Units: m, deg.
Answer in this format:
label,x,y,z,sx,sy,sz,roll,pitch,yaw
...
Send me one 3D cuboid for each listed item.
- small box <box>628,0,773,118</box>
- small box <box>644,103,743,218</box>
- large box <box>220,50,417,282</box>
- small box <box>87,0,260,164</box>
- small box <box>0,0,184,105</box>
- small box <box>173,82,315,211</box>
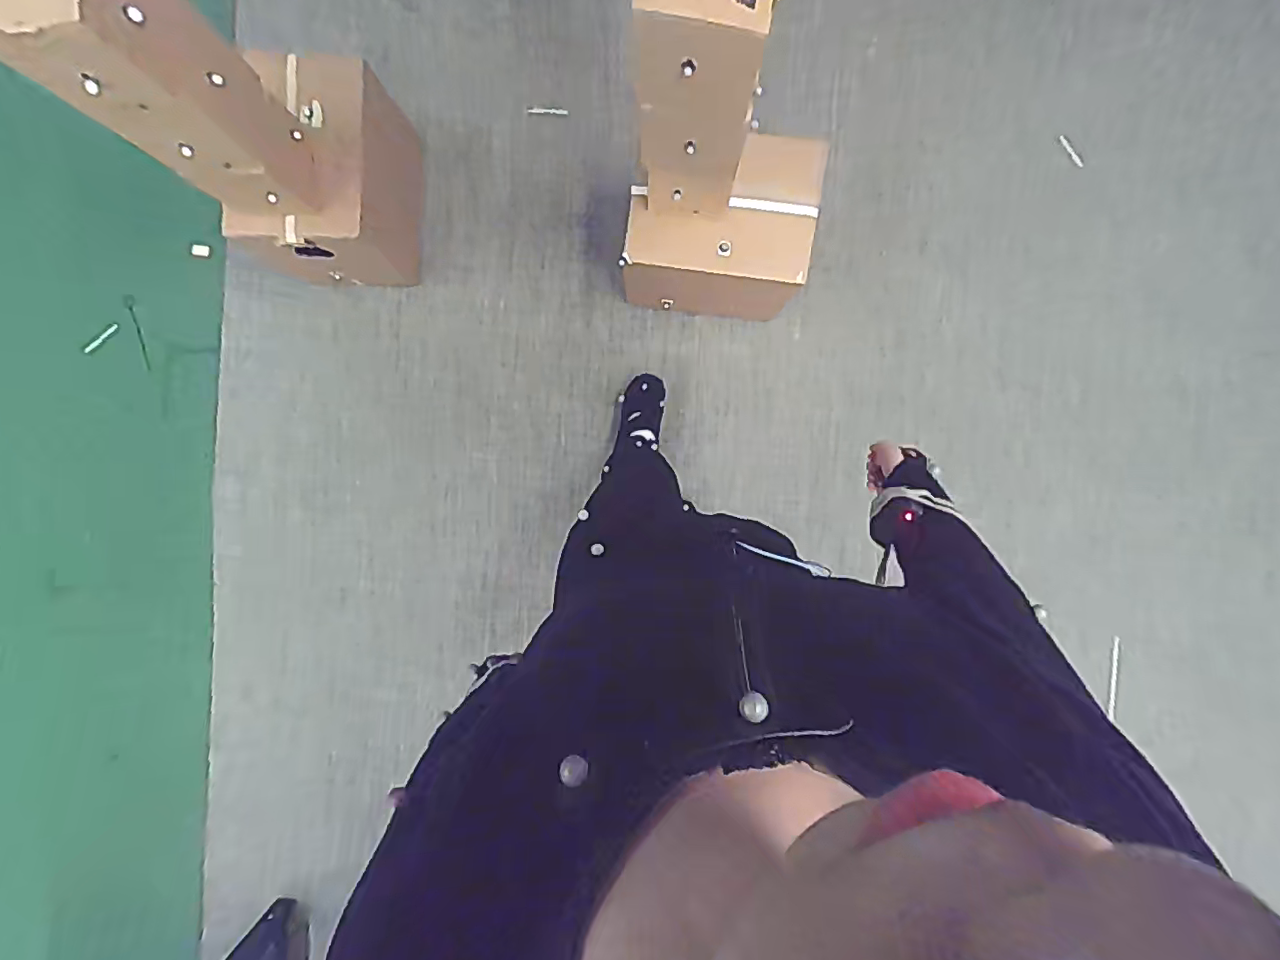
label,x,y,z,sx,sy,sz,roll,pitch,yaw
small box,0.089,-0.646,0.751,0.179,0.176,0.168,13,90,2
small box,0.103,-0.652,1.080,0.168,0.176,0.179,8,90,0
large box,-0.765,-0.740,1.334,0.320,0.320,0.408,2,90,1
small box,-0.791,-0.670,0.929,0.168,0.176,0.179,-3,90,1
small box,-0.792,-0.665,0.764,0.168,0.176,0.179,-1,91,1
small box,-0.789,-0.665,1.092,0.179,0.176,0.168,1,91,2
